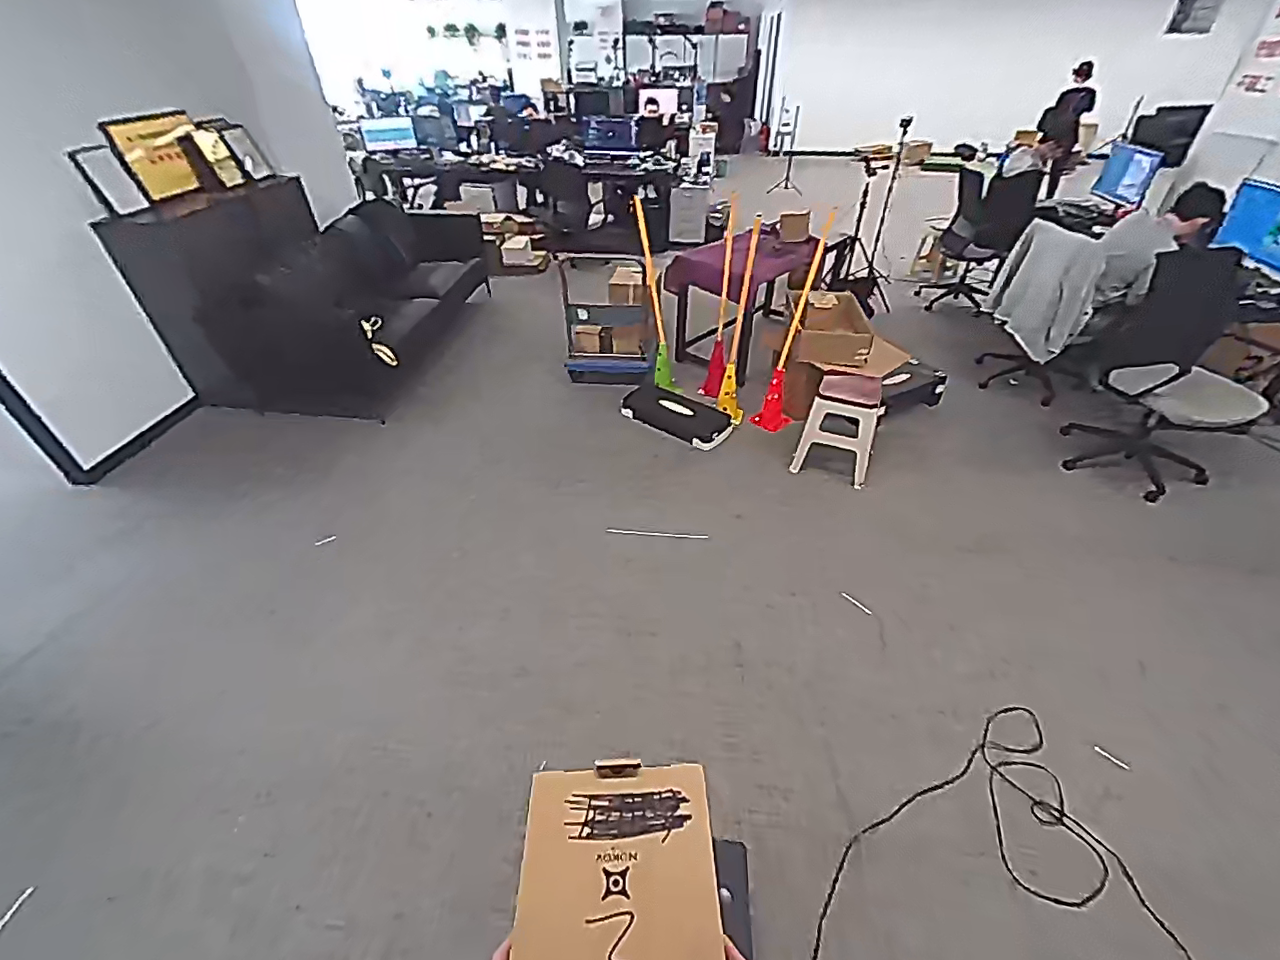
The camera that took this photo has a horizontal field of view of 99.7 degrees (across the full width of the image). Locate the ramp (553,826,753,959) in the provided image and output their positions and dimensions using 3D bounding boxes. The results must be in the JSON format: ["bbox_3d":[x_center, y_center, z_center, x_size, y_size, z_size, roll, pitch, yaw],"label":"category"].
[{"bbox_3d":[0.007,1.275,1.145,0.509,0.206,0.991,2,39,5],"label":"ramp"}]
